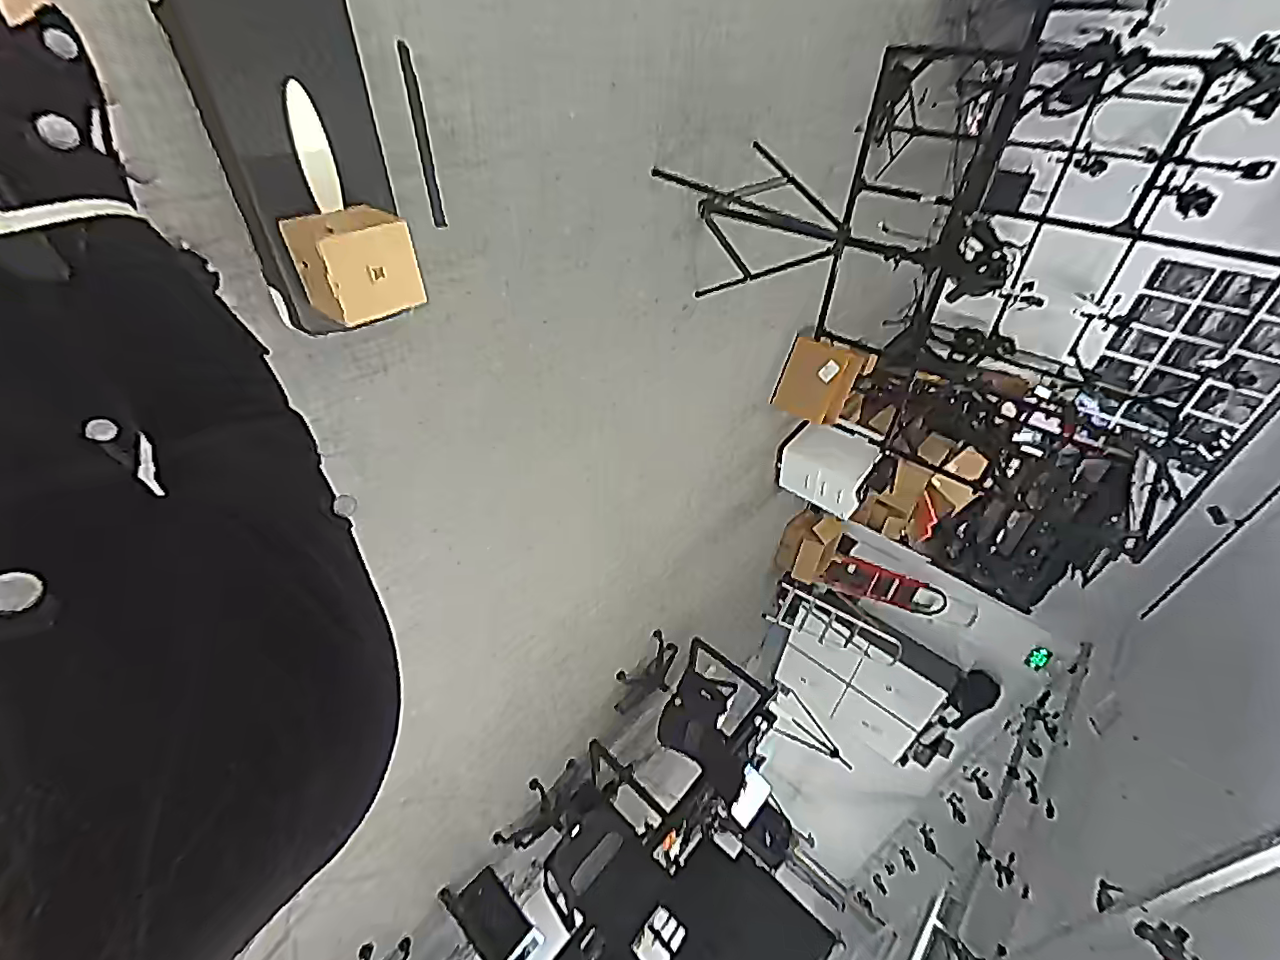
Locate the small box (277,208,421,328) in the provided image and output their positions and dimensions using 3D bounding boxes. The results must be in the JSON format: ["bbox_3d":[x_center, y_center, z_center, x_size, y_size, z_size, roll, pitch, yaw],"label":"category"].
[{"bbox_3d":[-0.581,-0.433,1.088,0.179,0.176,0.168,-35,142,-34],"label":"small box"}]
